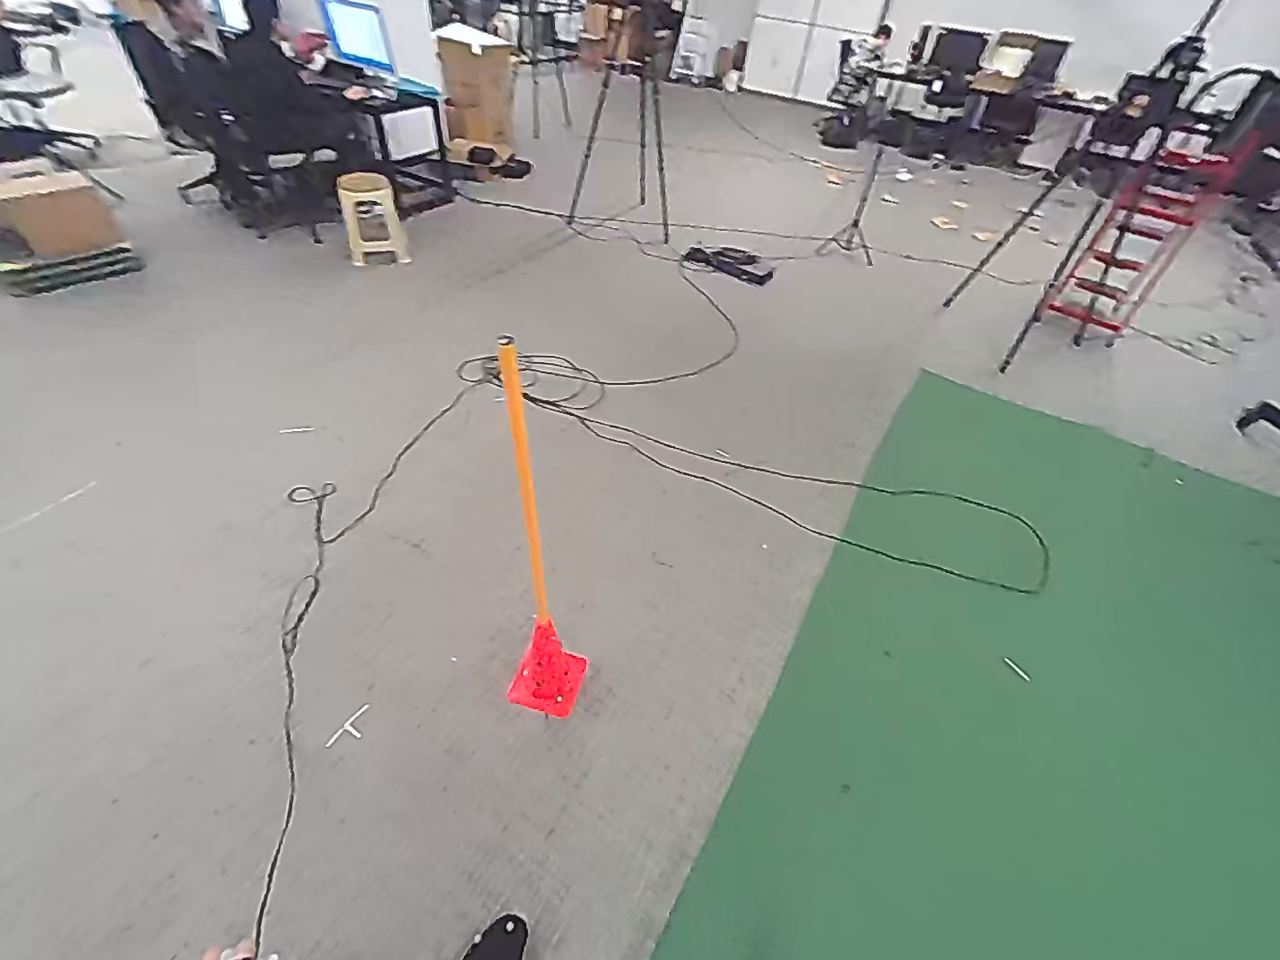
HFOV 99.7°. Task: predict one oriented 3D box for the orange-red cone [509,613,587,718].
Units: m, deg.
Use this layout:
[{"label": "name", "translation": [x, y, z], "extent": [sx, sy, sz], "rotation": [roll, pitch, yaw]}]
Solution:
[{"label": "orange-red cone", "translation": [-0.265, 0.490, 1.545], "extent": [0.198, 0.360, 0.199], "rotation": [16, 44, 8]}]
